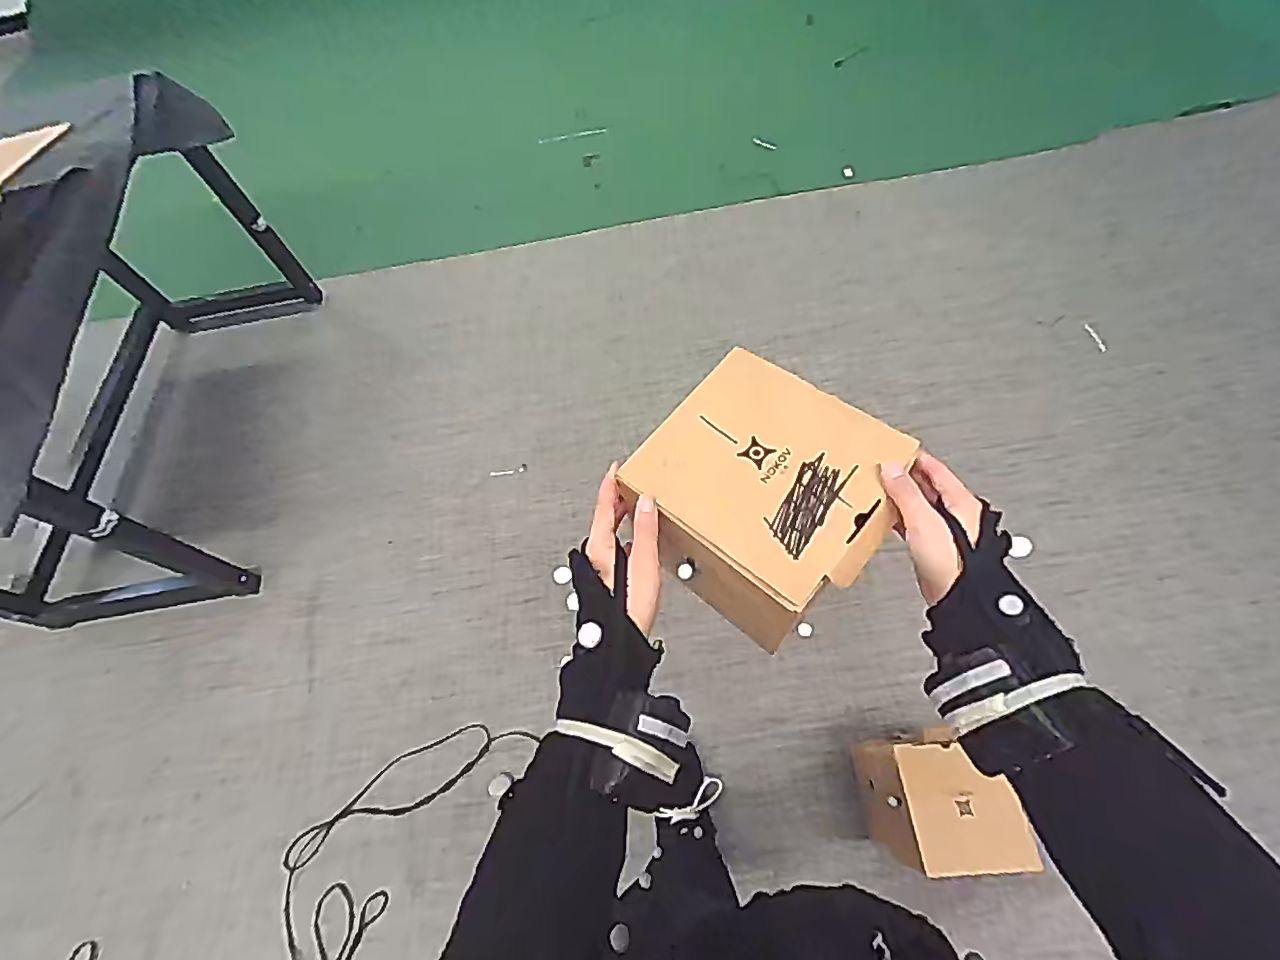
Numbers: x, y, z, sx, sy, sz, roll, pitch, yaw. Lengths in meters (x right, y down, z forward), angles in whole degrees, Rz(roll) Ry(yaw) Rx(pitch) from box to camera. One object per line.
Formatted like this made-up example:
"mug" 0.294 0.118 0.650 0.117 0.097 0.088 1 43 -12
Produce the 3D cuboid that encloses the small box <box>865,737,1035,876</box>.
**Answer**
"small box" 0.492 0.528 0.890 0.168 0.176 0.179 -6 61 3

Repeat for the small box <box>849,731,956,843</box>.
"small box" 0.519 0.592 1.039 0.168 0.176 0.179 -6 60 3
